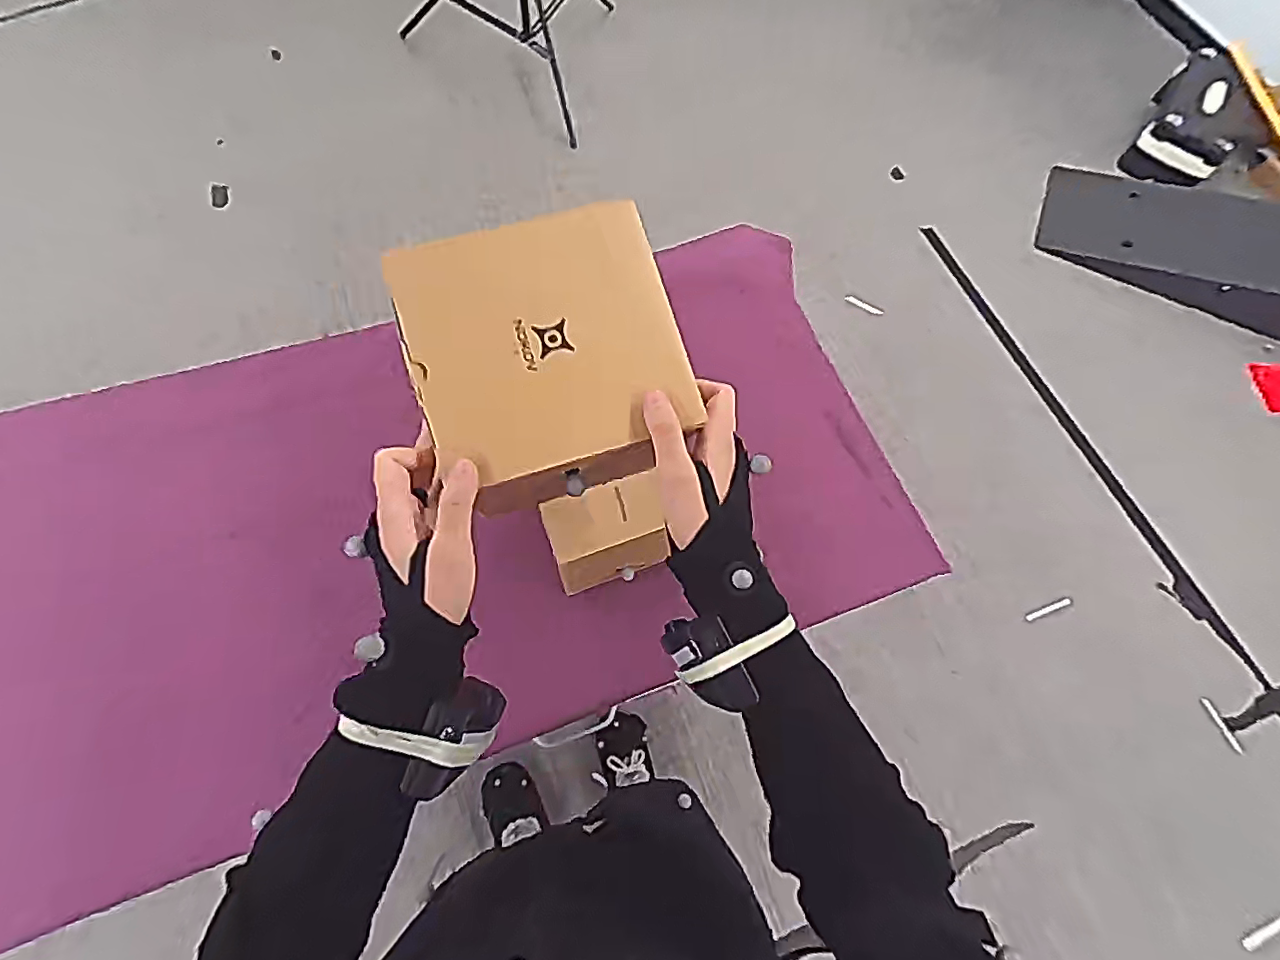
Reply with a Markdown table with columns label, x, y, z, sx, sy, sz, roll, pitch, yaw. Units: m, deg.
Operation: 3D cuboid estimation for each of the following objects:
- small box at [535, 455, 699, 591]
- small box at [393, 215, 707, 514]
| label | x | y | z | sx | sy | sz | roll | pitch | yaw |
| --- | --- | --- | --- | --- | --- | --- | --- | --- | --- |
| small box | -0.046 | 0.019 | 0.669 | 0.168 | 0.176 | 0.179 | -18 | 71 | -11 |
| small box | -0.068 | -0.076 | 0.439 | 0.179 | 0.176 | 0.168 | -17 | 84 | -8 |
